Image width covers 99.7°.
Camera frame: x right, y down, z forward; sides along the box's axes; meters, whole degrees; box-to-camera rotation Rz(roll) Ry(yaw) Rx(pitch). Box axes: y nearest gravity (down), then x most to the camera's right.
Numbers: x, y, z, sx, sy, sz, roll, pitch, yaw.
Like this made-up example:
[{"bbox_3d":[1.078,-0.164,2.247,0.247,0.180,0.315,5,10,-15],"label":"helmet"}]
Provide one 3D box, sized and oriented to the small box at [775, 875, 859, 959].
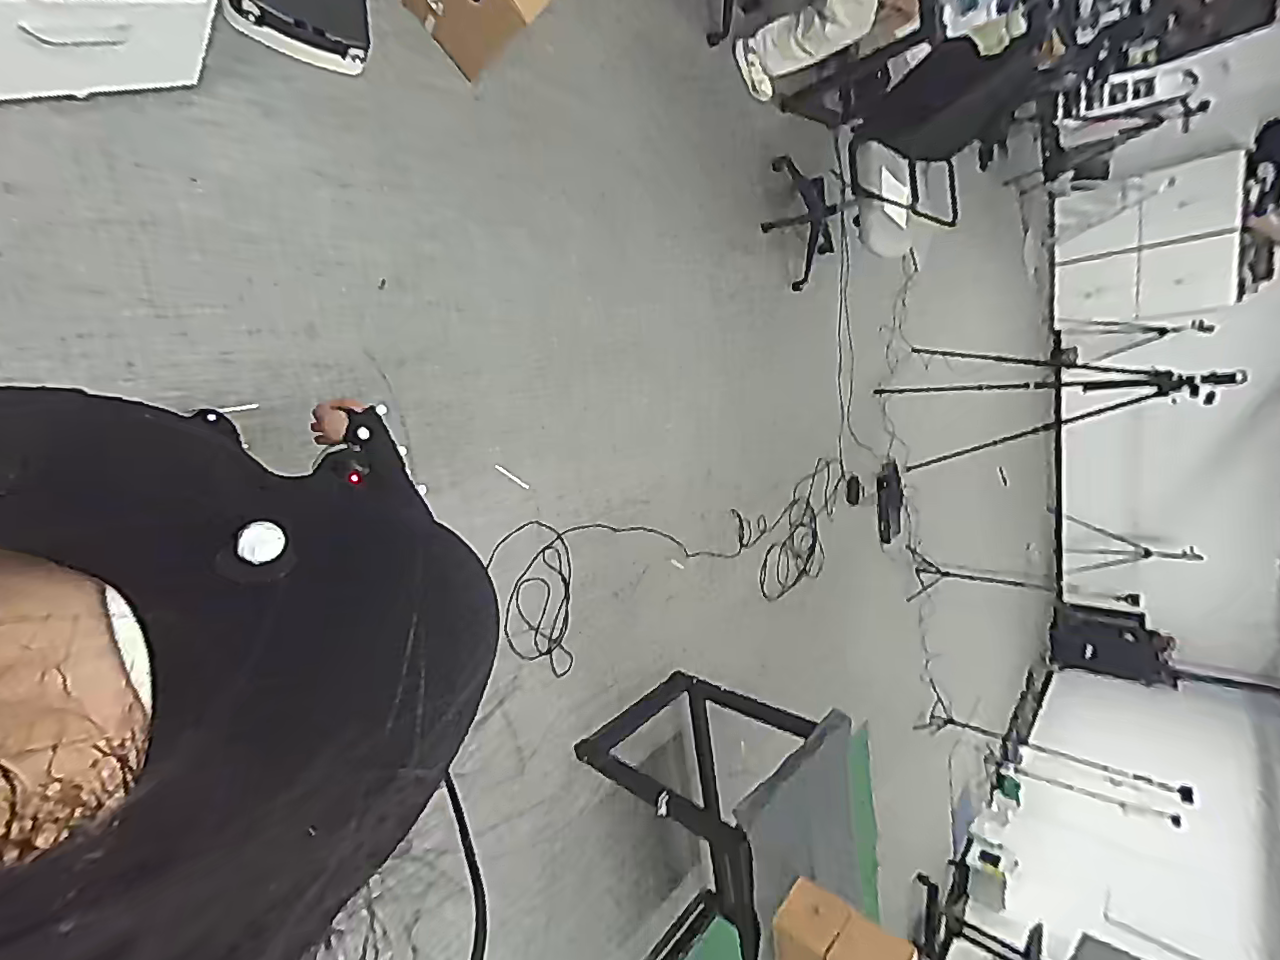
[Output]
[{"bbox_3d":[0.502,1.281,1.534,0.179,0.176,0.168,-19,104,-44],"label":"small box"}]
